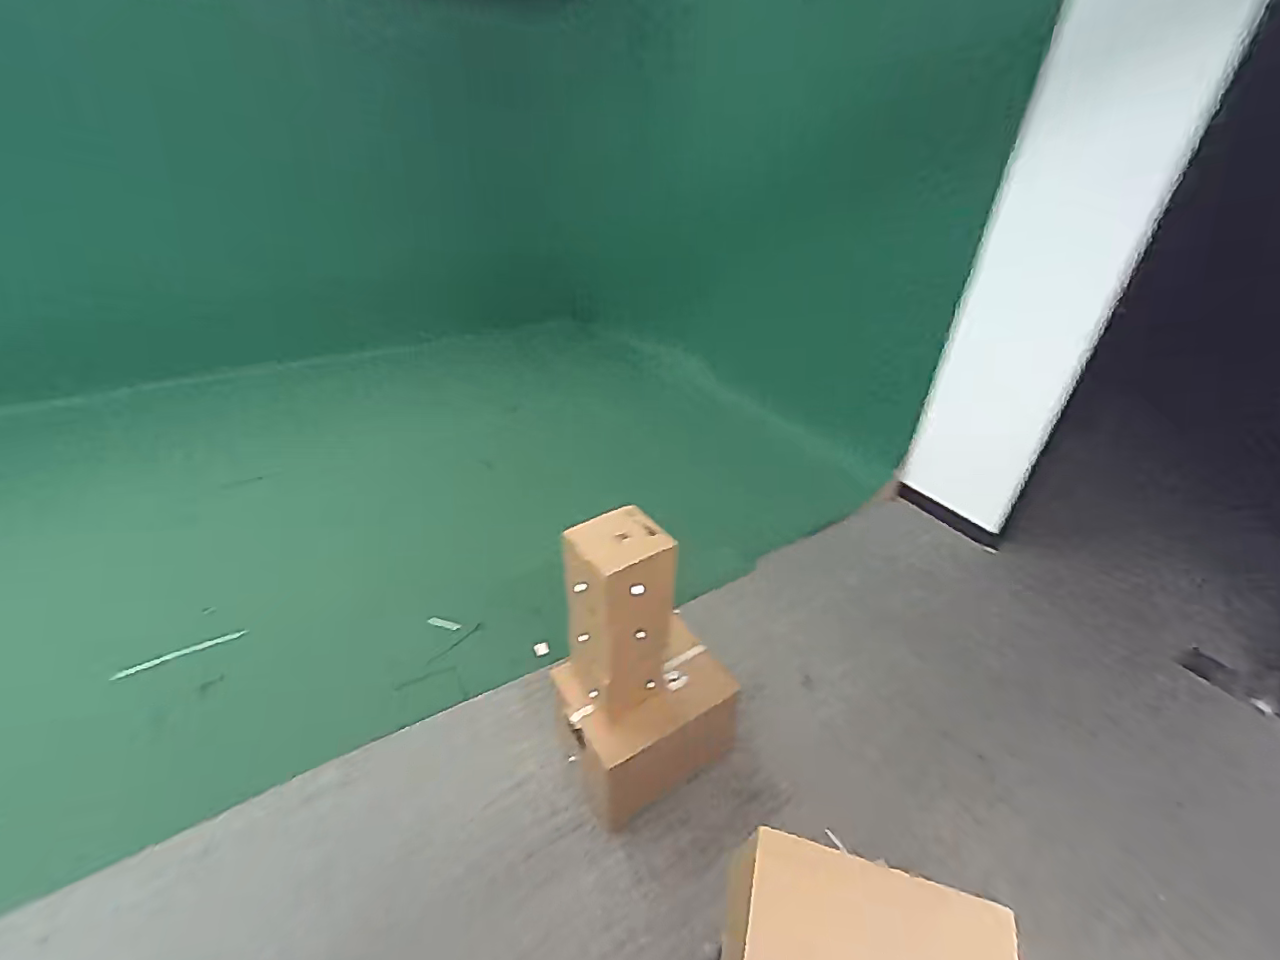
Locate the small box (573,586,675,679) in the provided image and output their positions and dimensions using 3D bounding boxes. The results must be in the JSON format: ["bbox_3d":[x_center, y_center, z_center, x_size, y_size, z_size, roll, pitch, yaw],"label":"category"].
[{"bbox_3d":[-0.037,0.322,1.250,0.179,0.176,0.168,-21,41,-31],"label":"small box"}]

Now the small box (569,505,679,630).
[{"bbox_3d":[-0.034,0.187,1.156,0.179,0.176,0.168,-21,40,-29],"label":"small box"}]

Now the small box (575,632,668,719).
[{"bbox_3d":[-0.047,0.459,1.340,0.168,0.176,0.179,-19,38,-28],"label":"small box"}]

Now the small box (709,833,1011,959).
[{"bbox_3d":[0.142,0.388,0.390,0.179,0.176,0.168,12,48,11],"label":"small box"}]

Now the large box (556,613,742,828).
[{"bbox_3d":[0.017,0.649,1.497,0.408,0.320,0.320,-18,39,-27],"label":"large box"}]
